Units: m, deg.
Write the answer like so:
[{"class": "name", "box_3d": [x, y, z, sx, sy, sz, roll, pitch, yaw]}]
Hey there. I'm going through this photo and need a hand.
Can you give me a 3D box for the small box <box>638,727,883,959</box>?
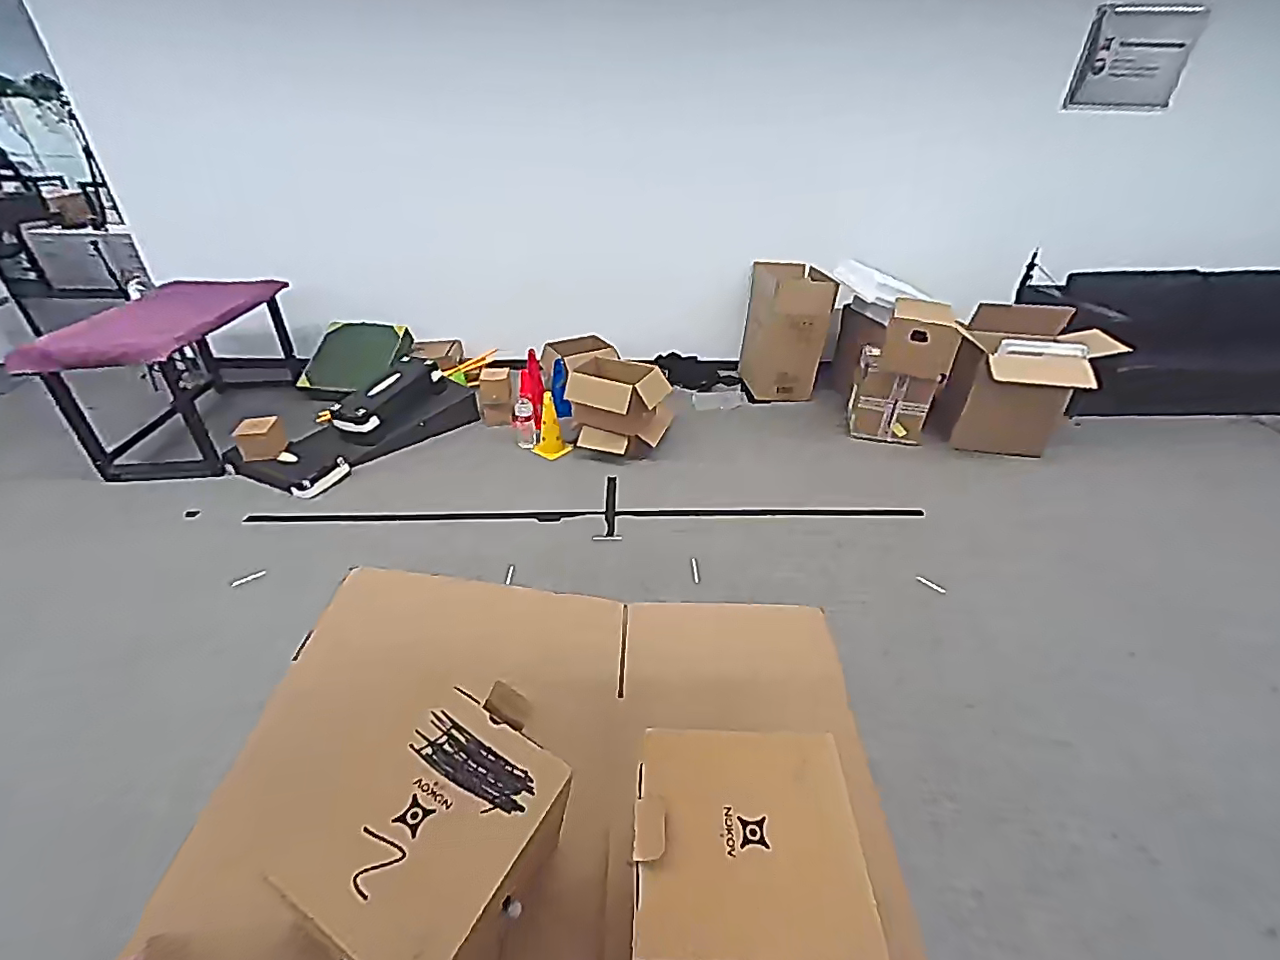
[{"class": "small box", "box_3d": [0.089, 0.347, 0.492, 0.179, 0.176, 0.168, 0, 38, 2]}]
